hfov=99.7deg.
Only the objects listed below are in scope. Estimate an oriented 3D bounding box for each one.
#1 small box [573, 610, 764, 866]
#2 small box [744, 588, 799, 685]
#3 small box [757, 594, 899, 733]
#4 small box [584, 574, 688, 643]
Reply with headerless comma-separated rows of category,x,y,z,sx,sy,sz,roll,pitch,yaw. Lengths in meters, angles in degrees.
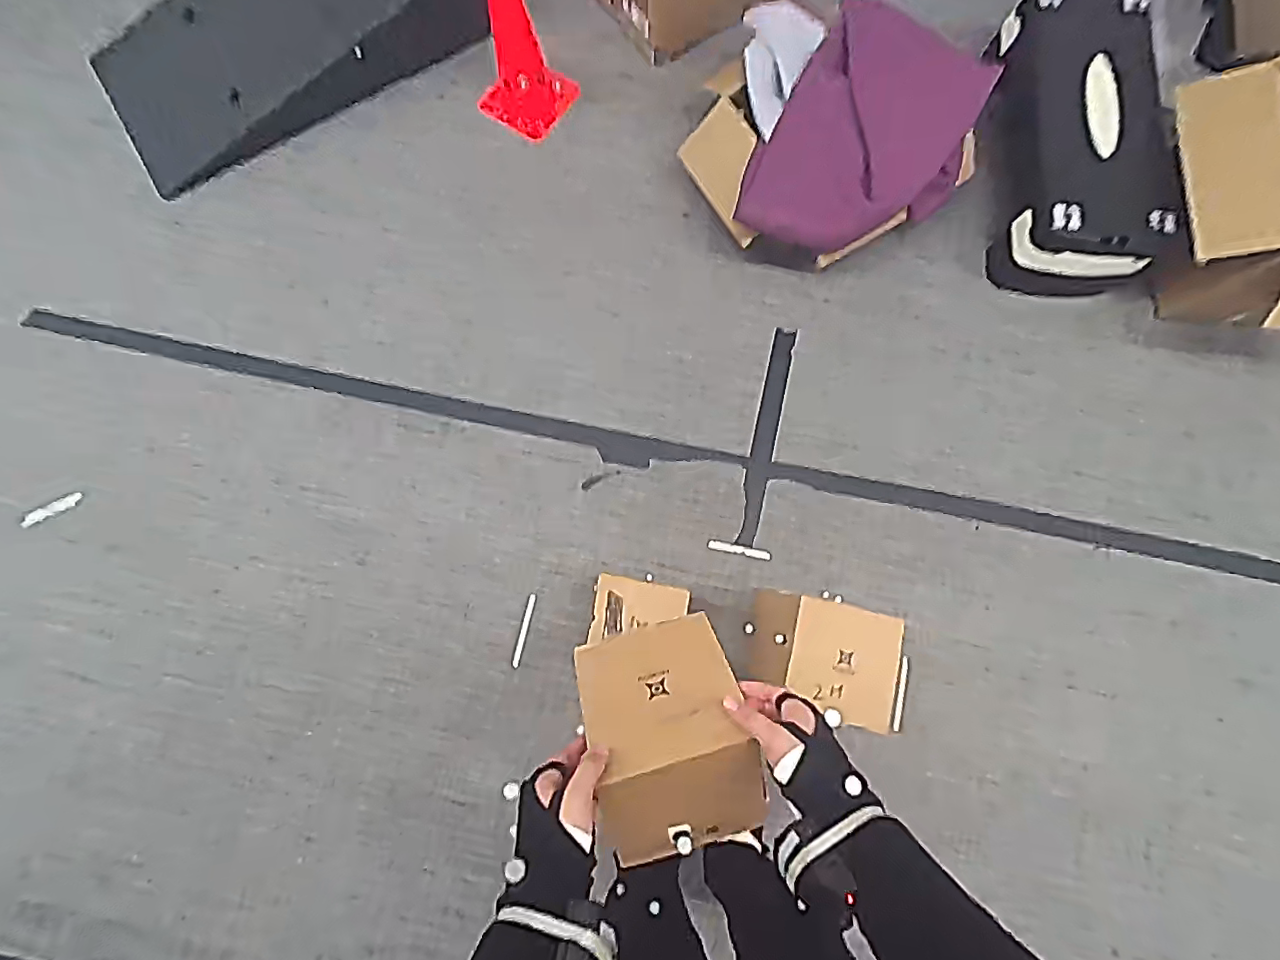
small box,0.030,0.285,0.612,0.168,0.179,0.176,-16,123,-6
small box,0.310,0.320,1.075,0.168,0.176,0.179,12,80,2
small box,0.306,0.295,0.910,0.168,0.176,0.179,13,80,3
small box,-0.009,0.288,1.078,0.179,0.176,0.168,10,80,1
